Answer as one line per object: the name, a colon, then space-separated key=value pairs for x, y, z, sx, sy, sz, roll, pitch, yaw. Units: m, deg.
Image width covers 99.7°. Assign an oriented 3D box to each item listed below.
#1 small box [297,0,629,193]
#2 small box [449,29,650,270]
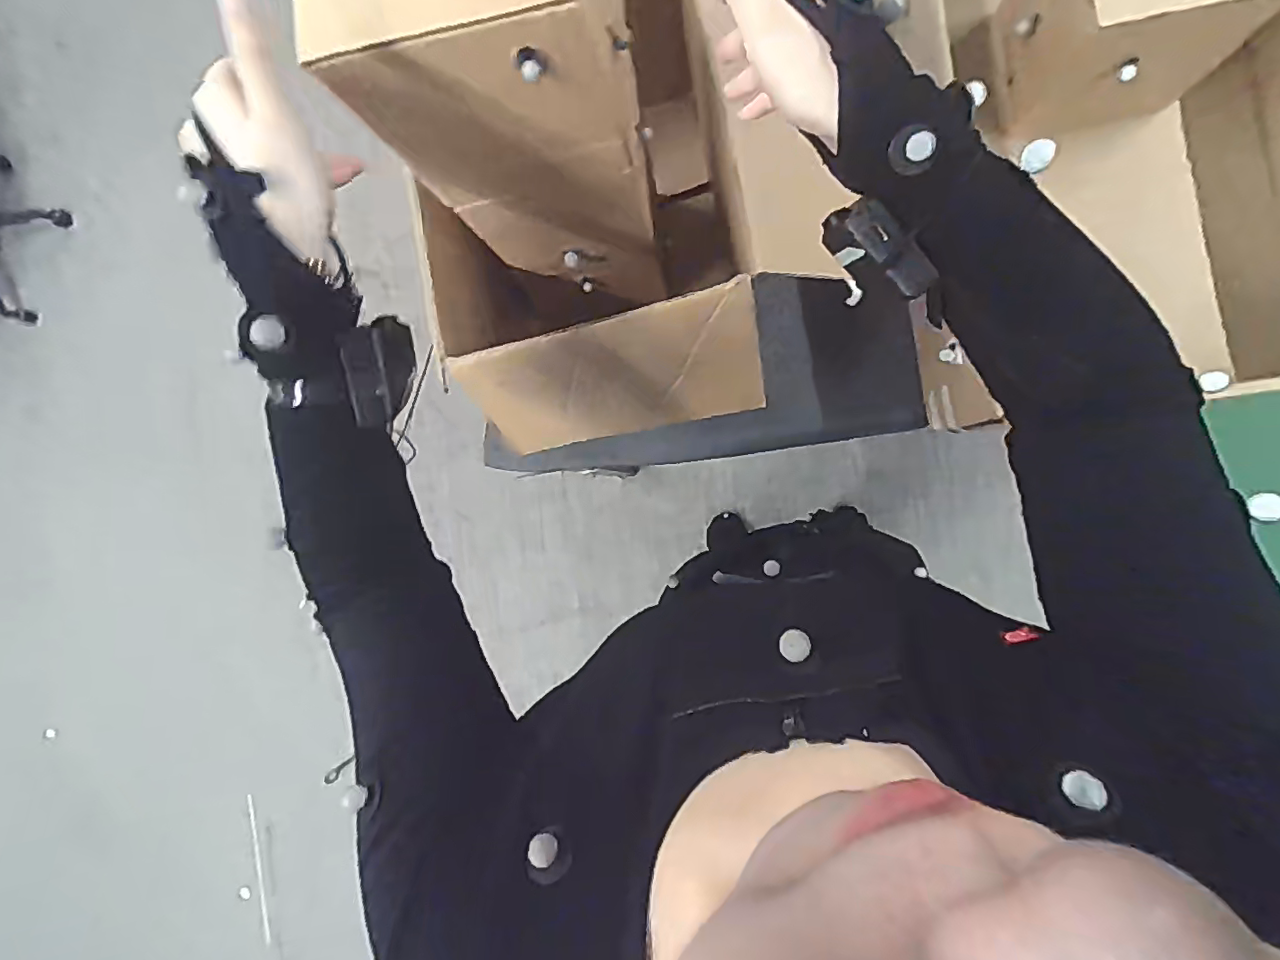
small box: x=-0.113 y=-0.338 z=0.393 sx=0.179 sy=0.176 sz=0.168 roll=-5 pitch=89 yaw=9
small box: x=-0.086 y=-0.341 z=0.552 sx=0.168 sy=0.176 sz=0.179 roll=-6 pitch=91 yaw=9
